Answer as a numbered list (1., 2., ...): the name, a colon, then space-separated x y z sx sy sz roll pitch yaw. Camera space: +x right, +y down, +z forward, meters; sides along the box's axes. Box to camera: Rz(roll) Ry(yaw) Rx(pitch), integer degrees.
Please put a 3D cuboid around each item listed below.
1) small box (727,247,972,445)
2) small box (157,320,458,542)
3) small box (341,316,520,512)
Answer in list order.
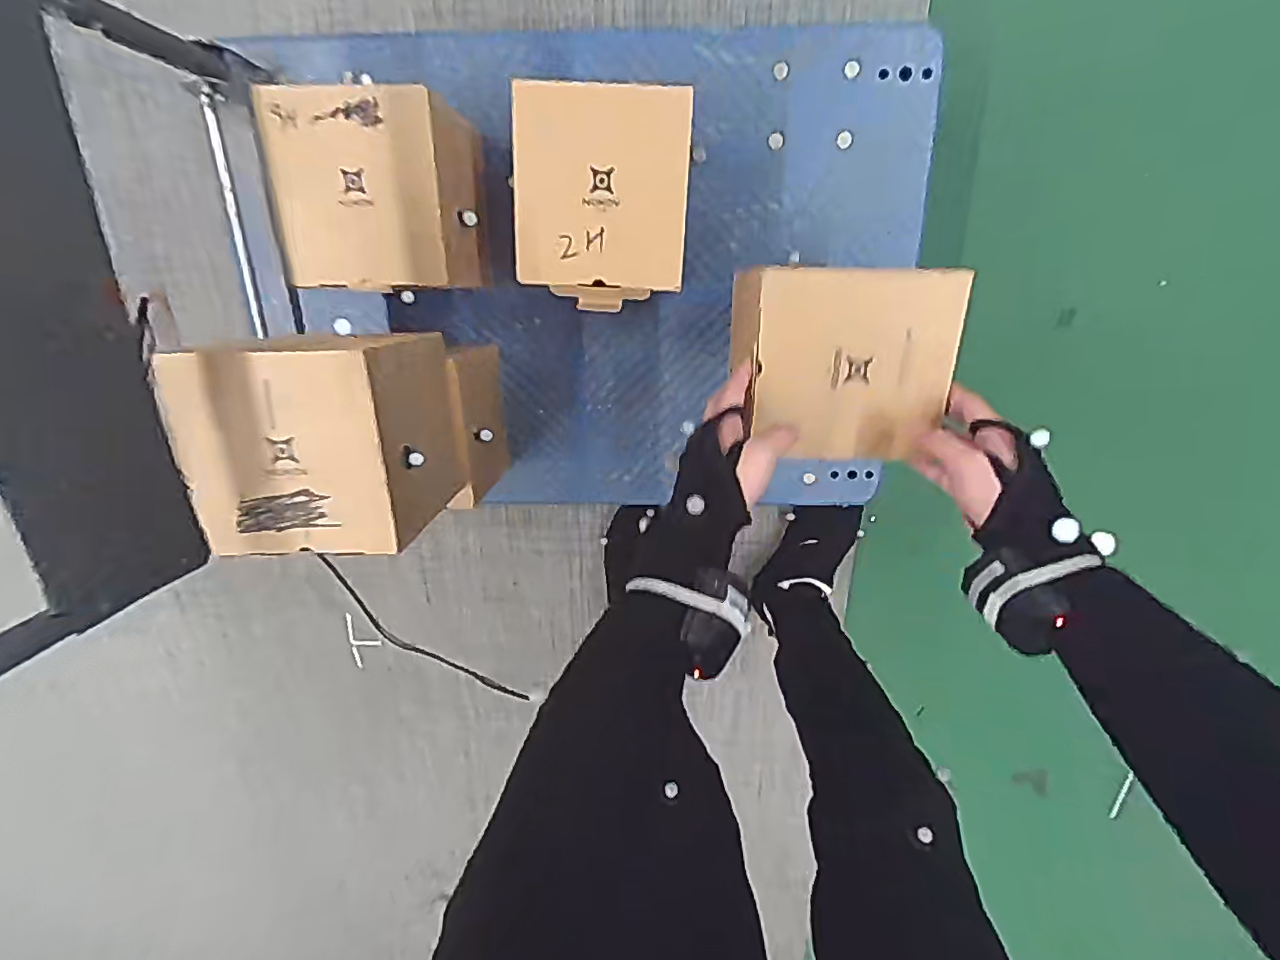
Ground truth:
1. small box: 0.188 -0.140 0.550 0.179 0.176 0.168 2 111 1
2. small box: -0.287 -0.056 0.516 0.168 0.176 0.179 0 109 1
3. small box: -0.280 -0.093 0.685 0.179 0.176 0.168 29 110 -8
